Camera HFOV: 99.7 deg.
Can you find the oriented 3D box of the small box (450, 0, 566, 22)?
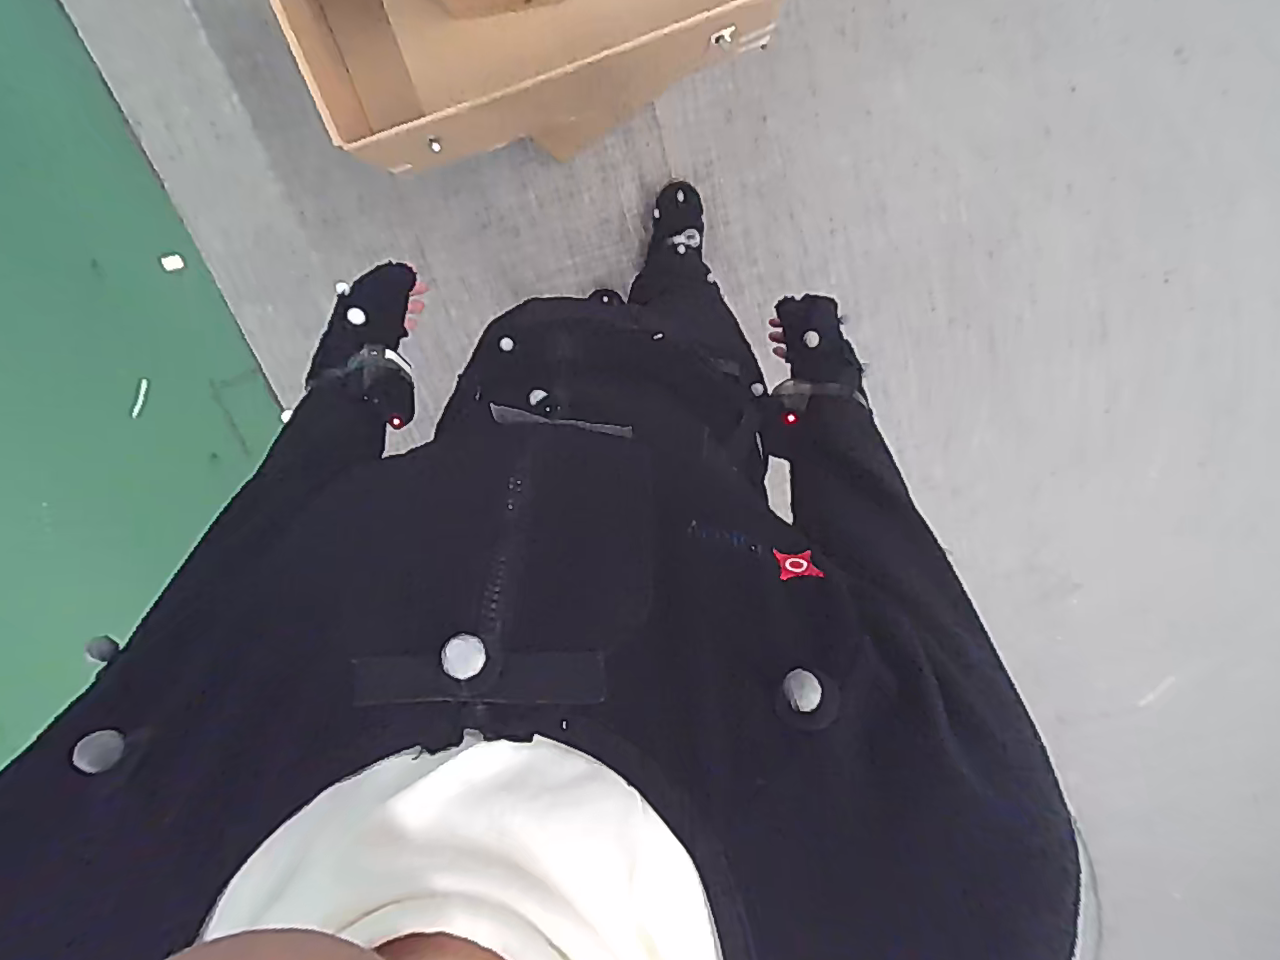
[{"bbox_3d":[-0.187,-0.706,0.652,0.168,0.176,0.179,-8,111,4],"label":"small box"}]
